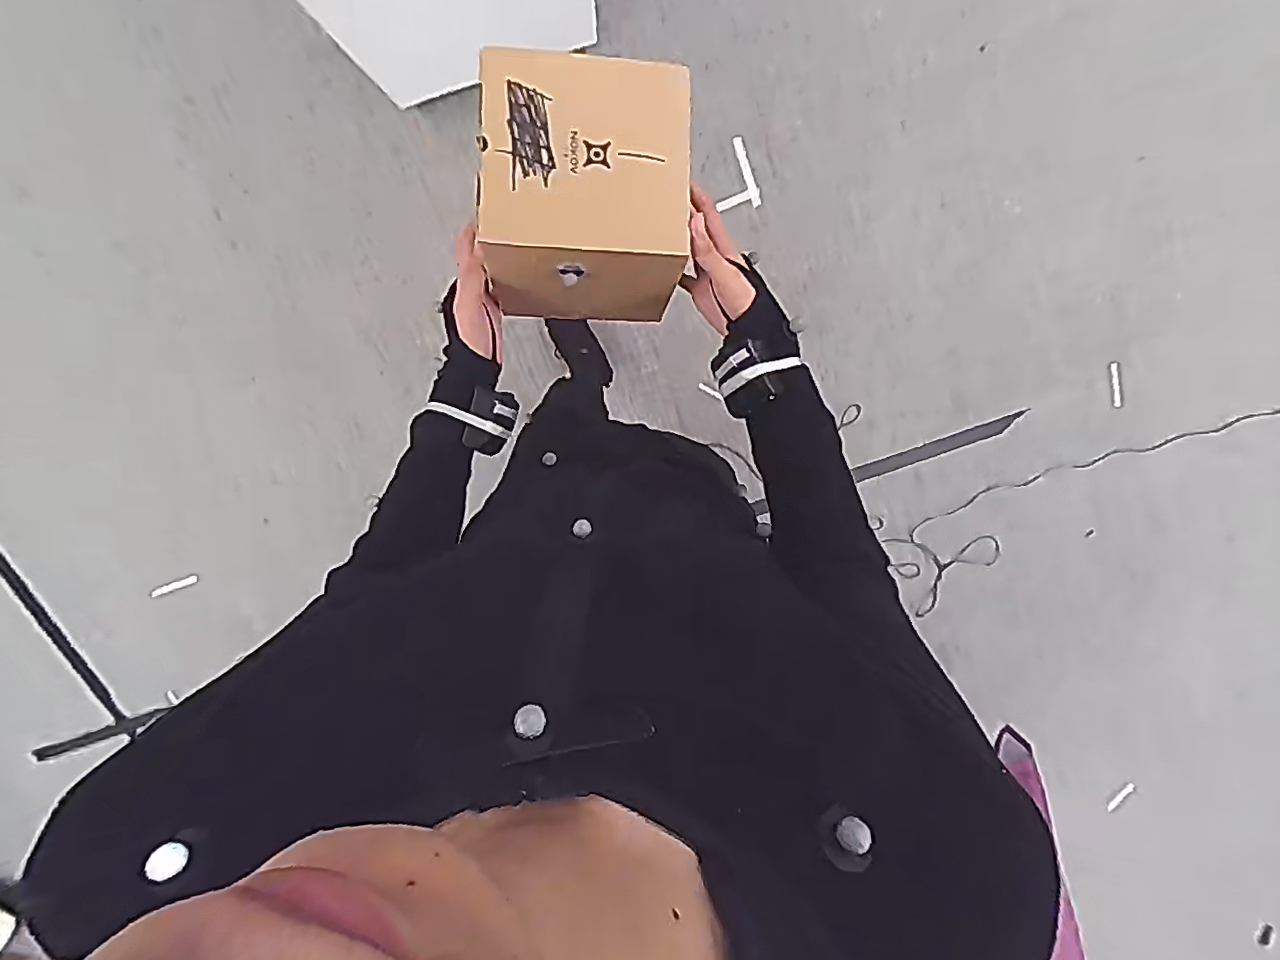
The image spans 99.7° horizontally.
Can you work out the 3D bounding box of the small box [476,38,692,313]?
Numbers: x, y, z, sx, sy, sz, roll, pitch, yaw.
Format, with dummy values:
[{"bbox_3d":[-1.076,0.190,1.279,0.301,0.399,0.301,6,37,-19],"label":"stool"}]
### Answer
[{"bbox_3d":[-0.052,-0.271,0.521,0.179,0.176,0.168,1,87,-7],"label":"small box"}]
